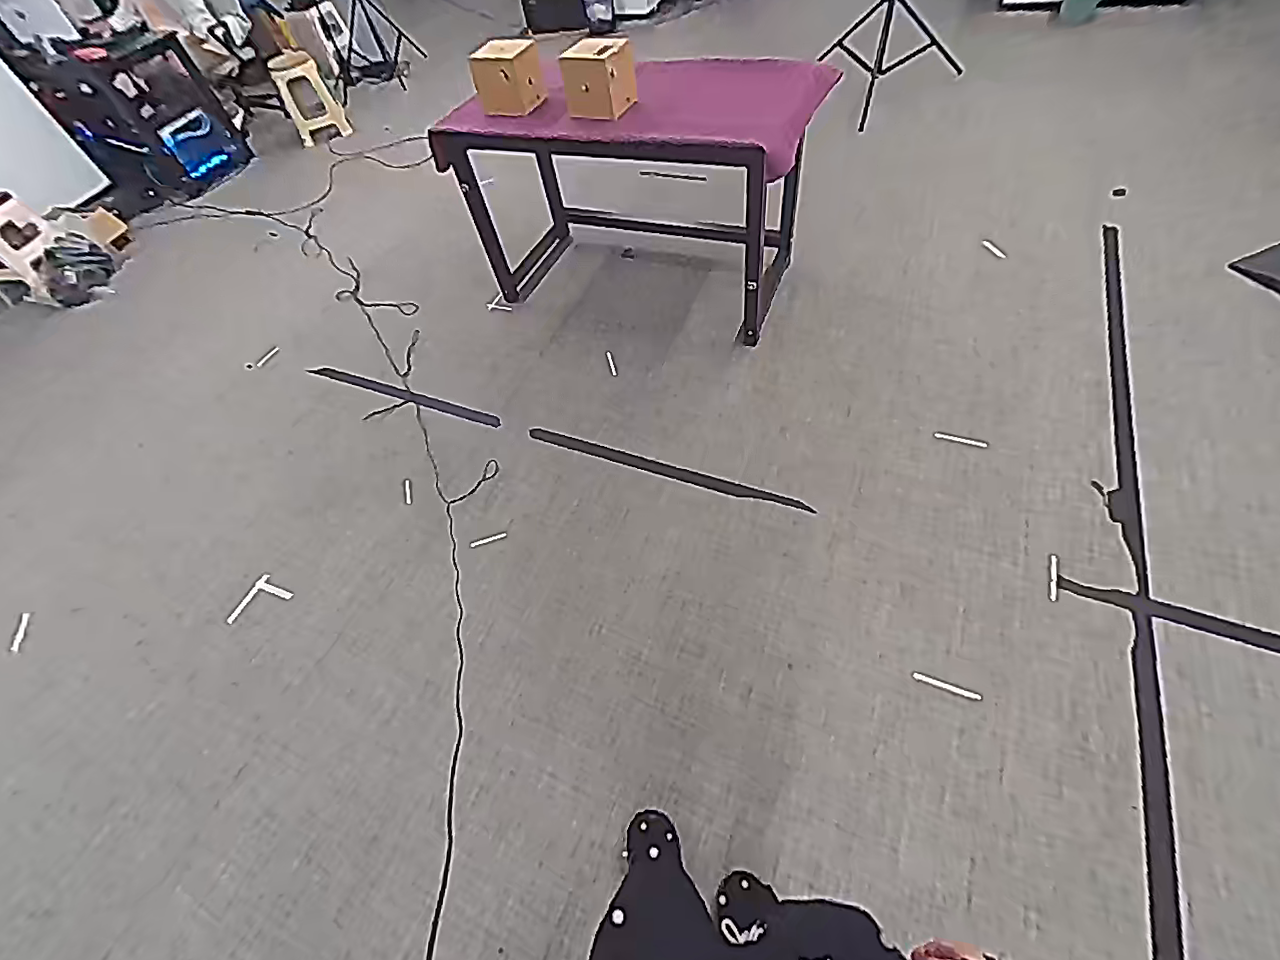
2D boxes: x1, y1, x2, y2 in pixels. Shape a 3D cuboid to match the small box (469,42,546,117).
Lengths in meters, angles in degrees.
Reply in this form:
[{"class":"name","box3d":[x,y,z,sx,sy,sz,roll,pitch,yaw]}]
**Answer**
[{"class":"small box","box3d":[-0.446,-1.369,1.853,0.179,0.176,0.168,13,56,18]}]
